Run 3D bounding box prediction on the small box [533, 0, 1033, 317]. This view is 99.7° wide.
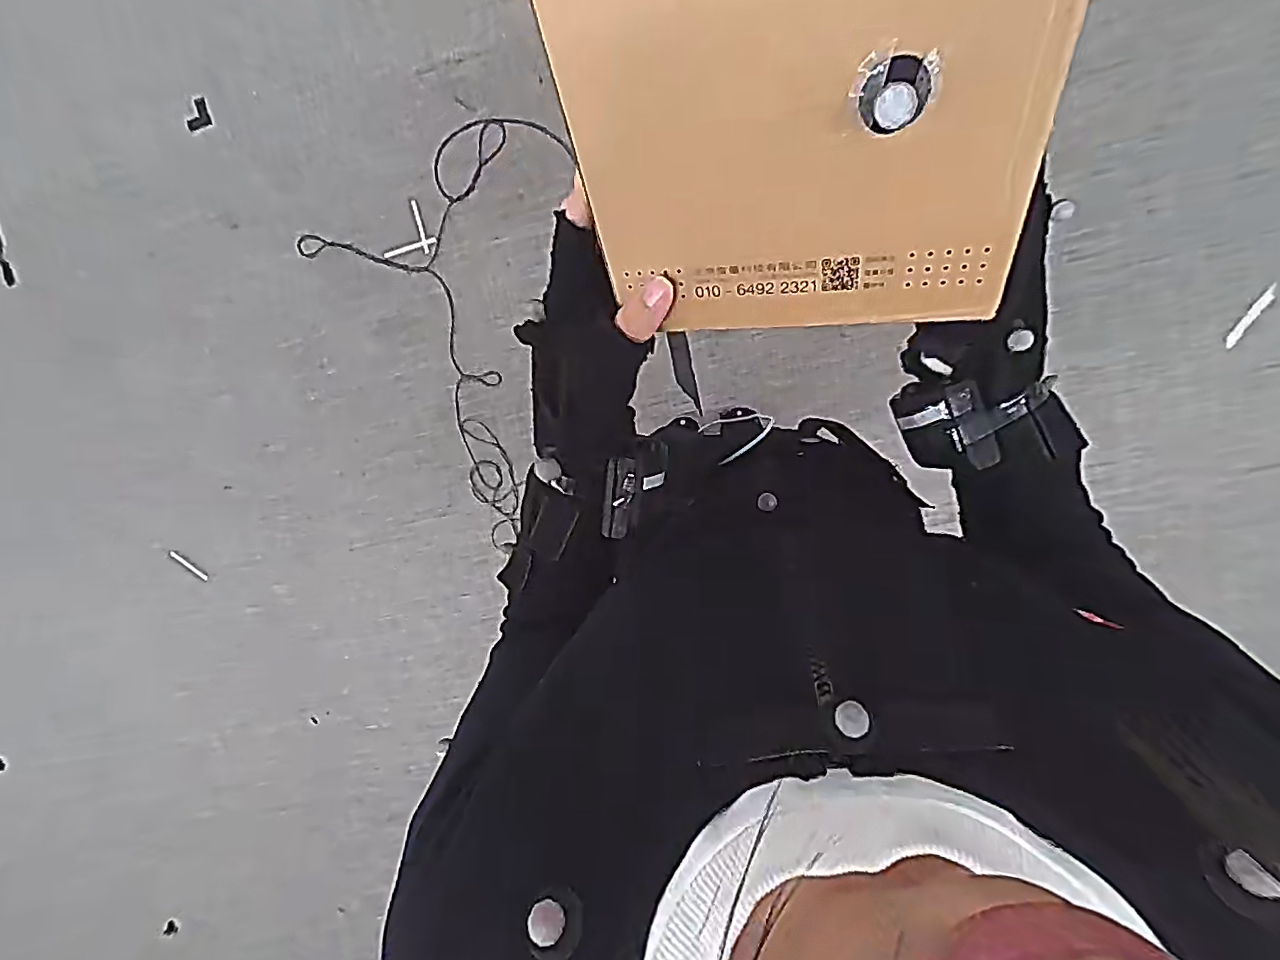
[{"bbox_3d":[0.075,-0.193,0.260,0.168,0.179,0.176,4,141,20],"label":"small box"}]
